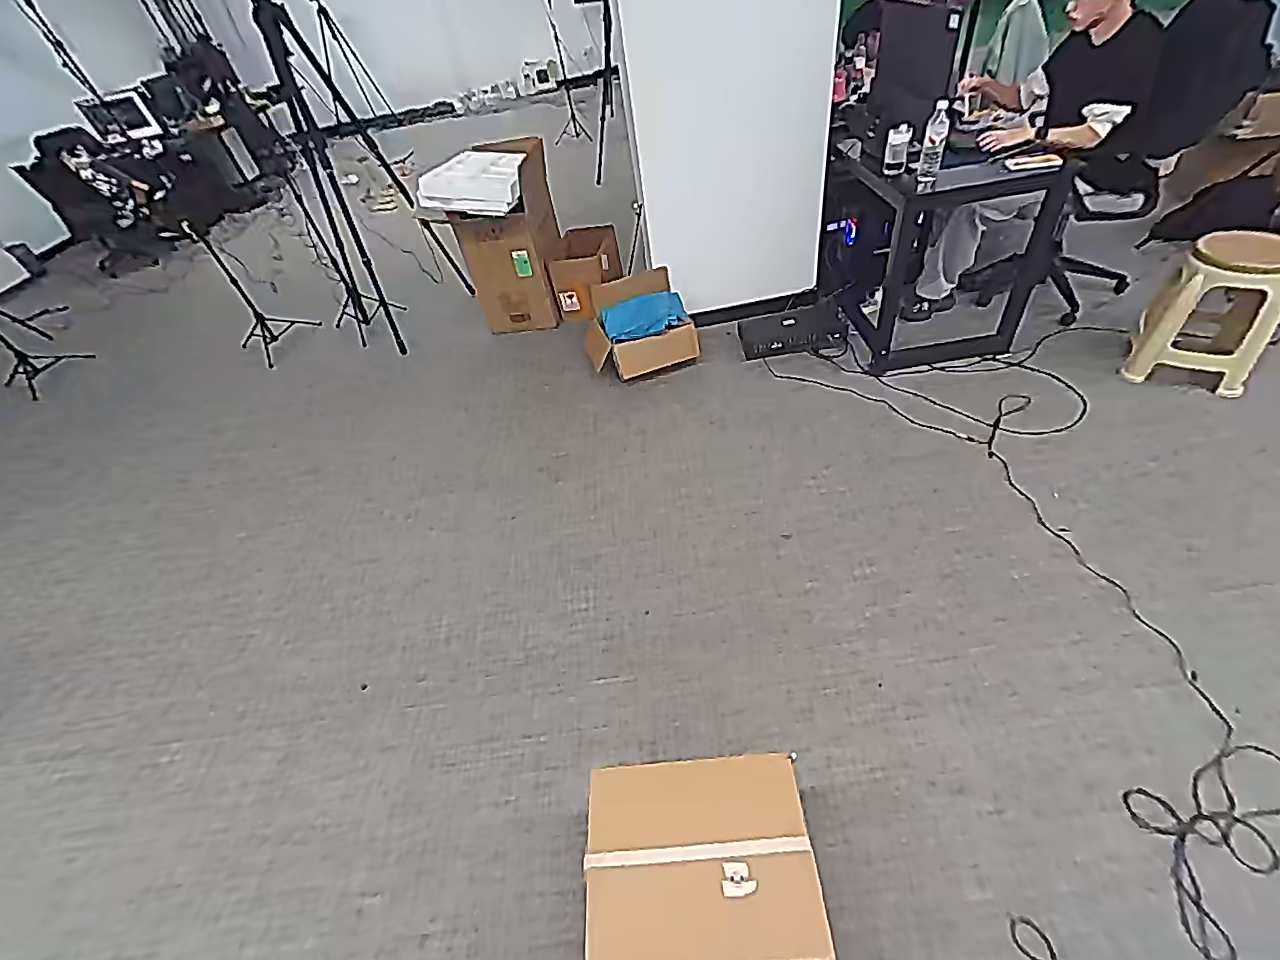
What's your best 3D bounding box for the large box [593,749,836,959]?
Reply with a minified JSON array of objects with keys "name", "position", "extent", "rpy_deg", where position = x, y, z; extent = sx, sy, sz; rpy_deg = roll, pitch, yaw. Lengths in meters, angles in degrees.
[{"name":"large box","position":[0.130,0.773,1.079],"extent":[0.408,0.320,0.320],"rpy_deg":[-7,44,4]}]
